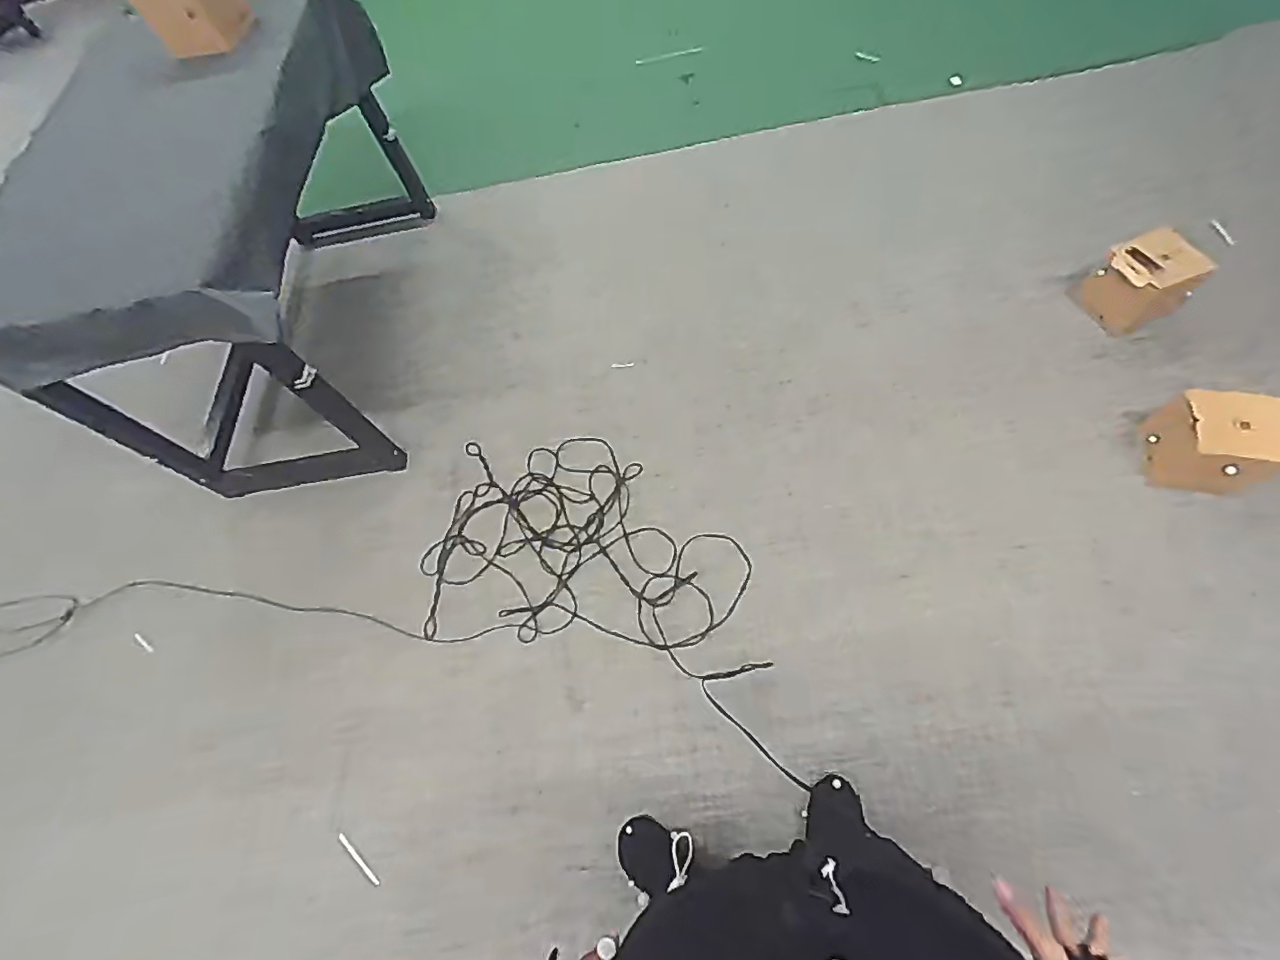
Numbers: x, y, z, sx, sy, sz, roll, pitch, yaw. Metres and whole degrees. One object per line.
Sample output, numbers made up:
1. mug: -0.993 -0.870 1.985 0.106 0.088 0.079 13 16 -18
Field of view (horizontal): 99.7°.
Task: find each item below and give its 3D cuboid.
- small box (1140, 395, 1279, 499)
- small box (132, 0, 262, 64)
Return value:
1. small box: 1.291 -0.069 1.217 0.179 0.176 0.168 9 66 13
2. small box: -1.088 -1.167 1.332 0.179 0.176 0.168 1 63 11
